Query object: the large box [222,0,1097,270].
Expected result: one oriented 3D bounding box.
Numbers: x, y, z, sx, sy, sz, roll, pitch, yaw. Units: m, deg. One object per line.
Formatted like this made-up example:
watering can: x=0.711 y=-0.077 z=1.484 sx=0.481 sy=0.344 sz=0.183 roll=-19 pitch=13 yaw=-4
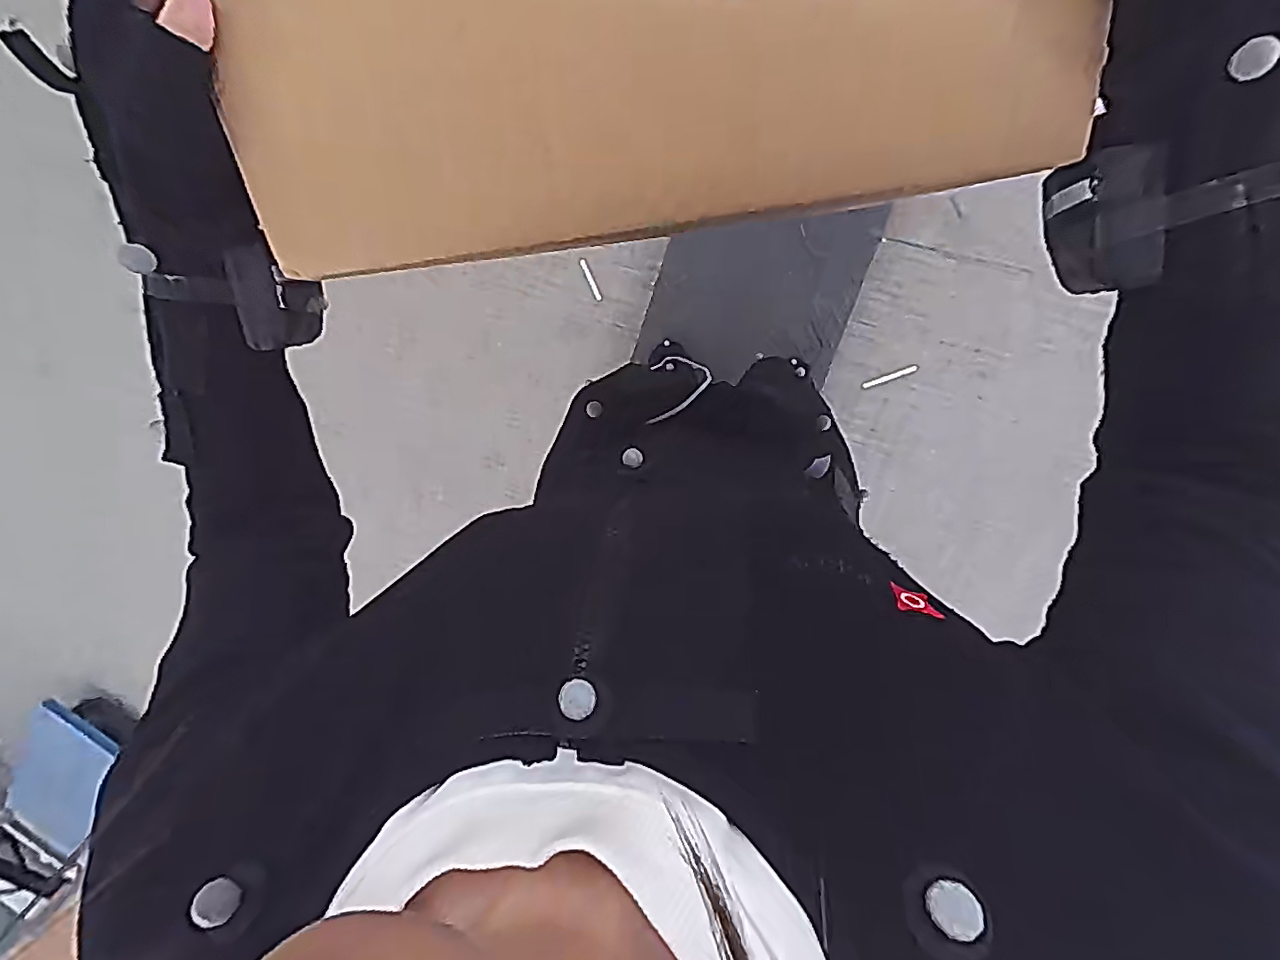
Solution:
large box: x=0.003 y=-0.338 z=0.358 sx=0.408 sy=0.320 sz=0.320 roll=-4 pitch=114 yaw=9
